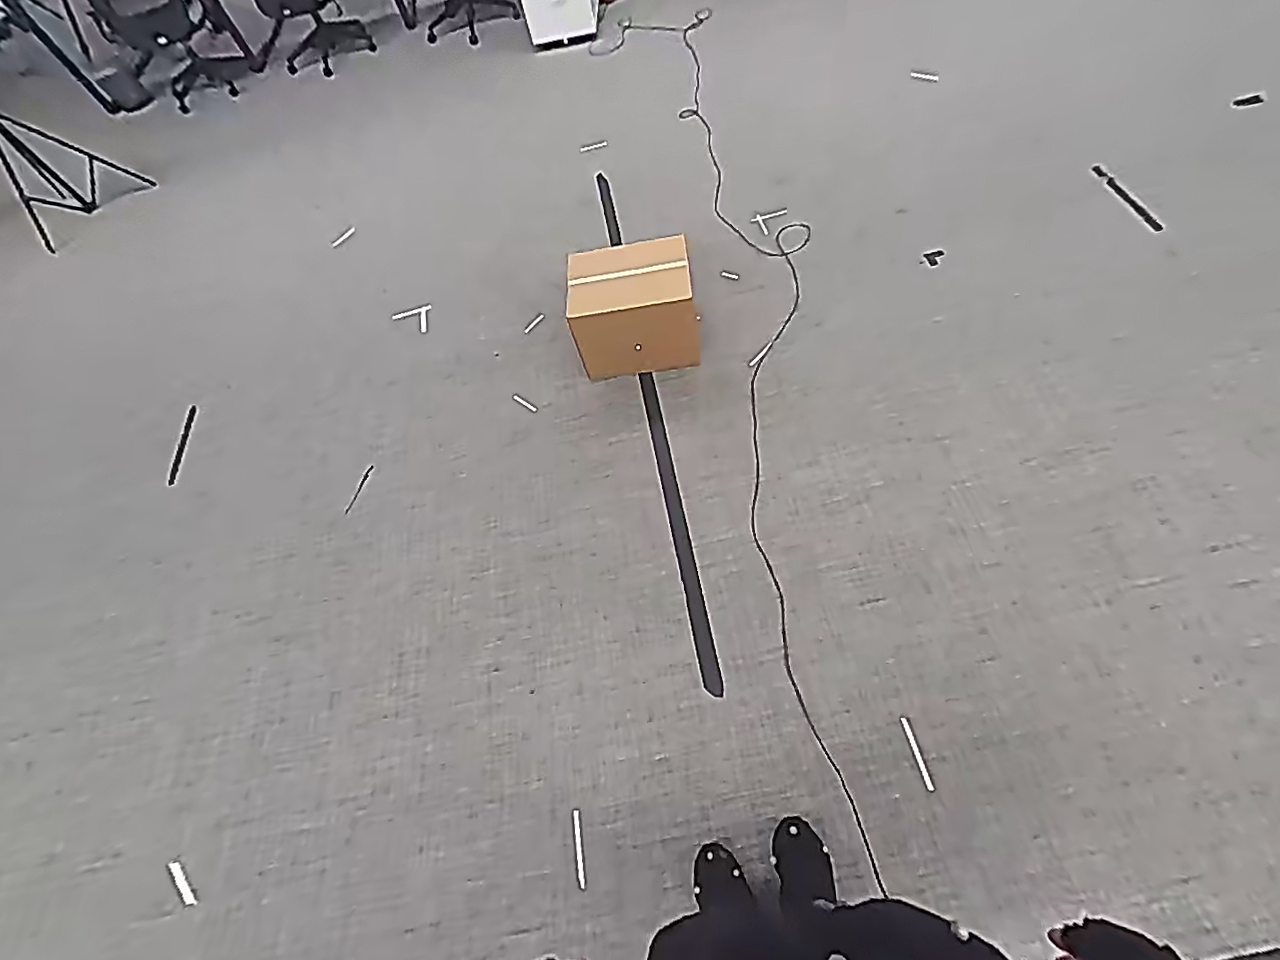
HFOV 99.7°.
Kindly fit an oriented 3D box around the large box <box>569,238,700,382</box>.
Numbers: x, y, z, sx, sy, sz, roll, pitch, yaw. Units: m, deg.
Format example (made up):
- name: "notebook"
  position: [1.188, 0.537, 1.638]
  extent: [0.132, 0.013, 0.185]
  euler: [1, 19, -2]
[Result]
- name: "large box"
  position: [-0.014, -0.579, 1.879]
  extent: [0.408, 0.320, 0.320]
  euler: [-7, 60, 7]
